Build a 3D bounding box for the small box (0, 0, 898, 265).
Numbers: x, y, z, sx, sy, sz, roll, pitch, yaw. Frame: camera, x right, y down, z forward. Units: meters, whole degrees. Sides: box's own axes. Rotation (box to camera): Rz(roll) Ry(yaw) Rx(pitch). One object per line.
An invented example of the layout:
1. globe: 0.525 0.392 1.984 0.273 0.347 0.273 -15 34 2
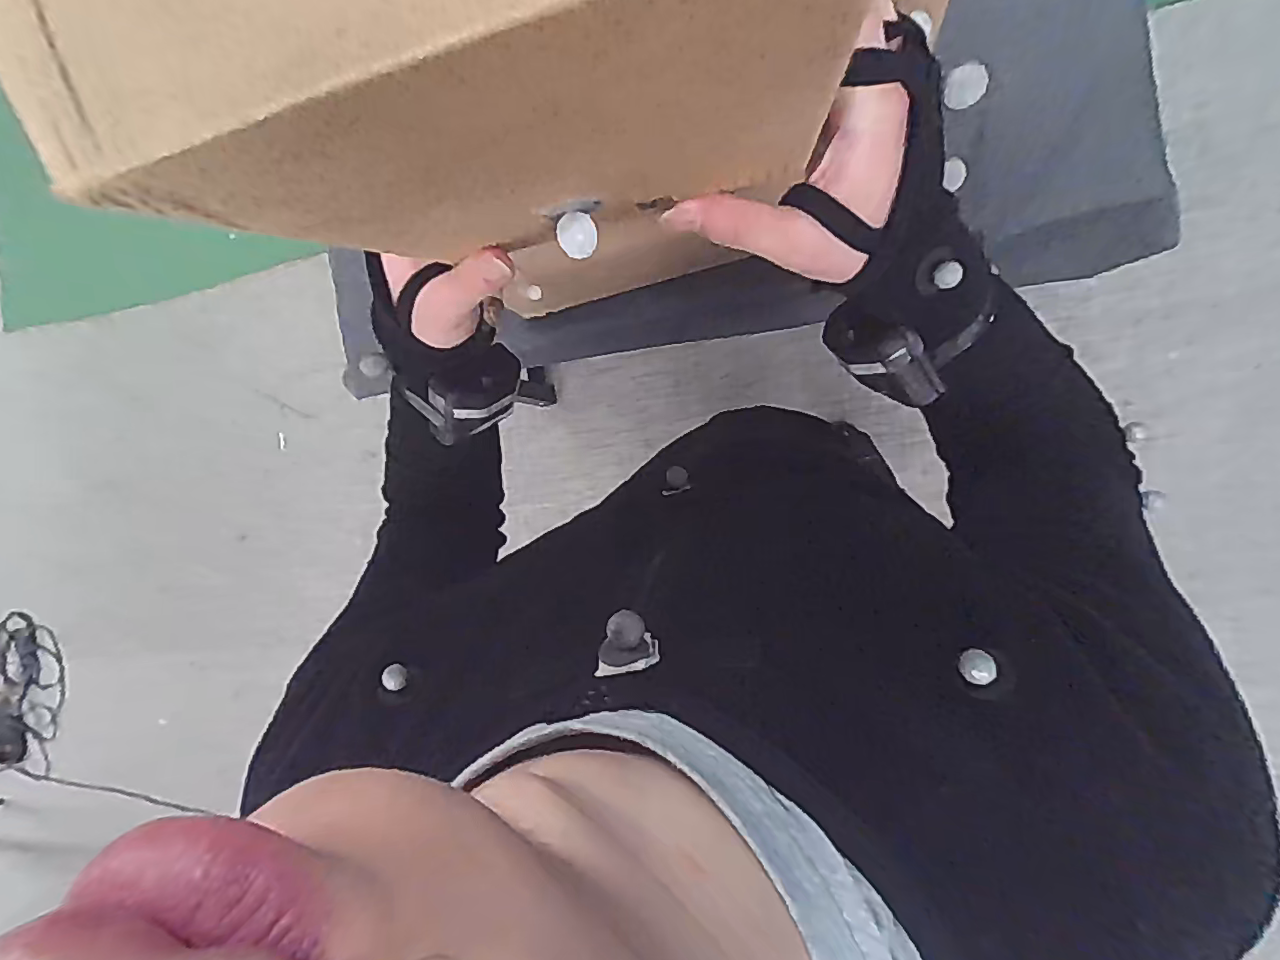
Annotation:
1. small box: -0.039 -0.172 0.147 0.168 0.176 0.179 -9 106 13
